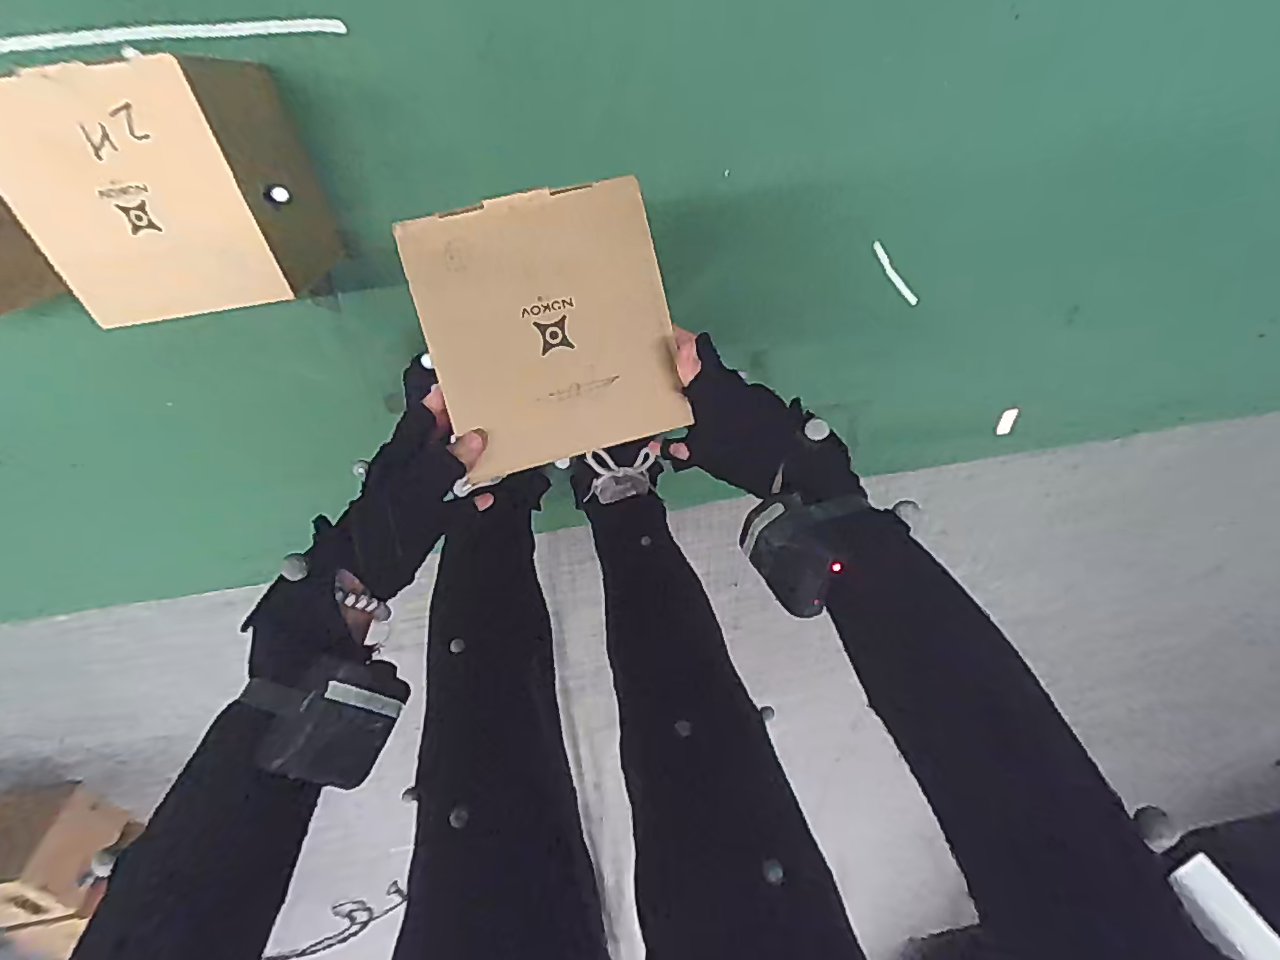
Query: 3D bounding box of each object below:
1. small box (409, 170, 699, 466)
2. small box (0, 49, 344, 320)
[{"bbox_3d":[-0.068,-0.117,0.447,0.168,0.176,0.179,-15,98,-8],"label":"small box"},{"bbox_3d":[-0.396,-0.263,0.483,0.168,0.176,0.179,-10,125,-5],"label":"small box"}]
